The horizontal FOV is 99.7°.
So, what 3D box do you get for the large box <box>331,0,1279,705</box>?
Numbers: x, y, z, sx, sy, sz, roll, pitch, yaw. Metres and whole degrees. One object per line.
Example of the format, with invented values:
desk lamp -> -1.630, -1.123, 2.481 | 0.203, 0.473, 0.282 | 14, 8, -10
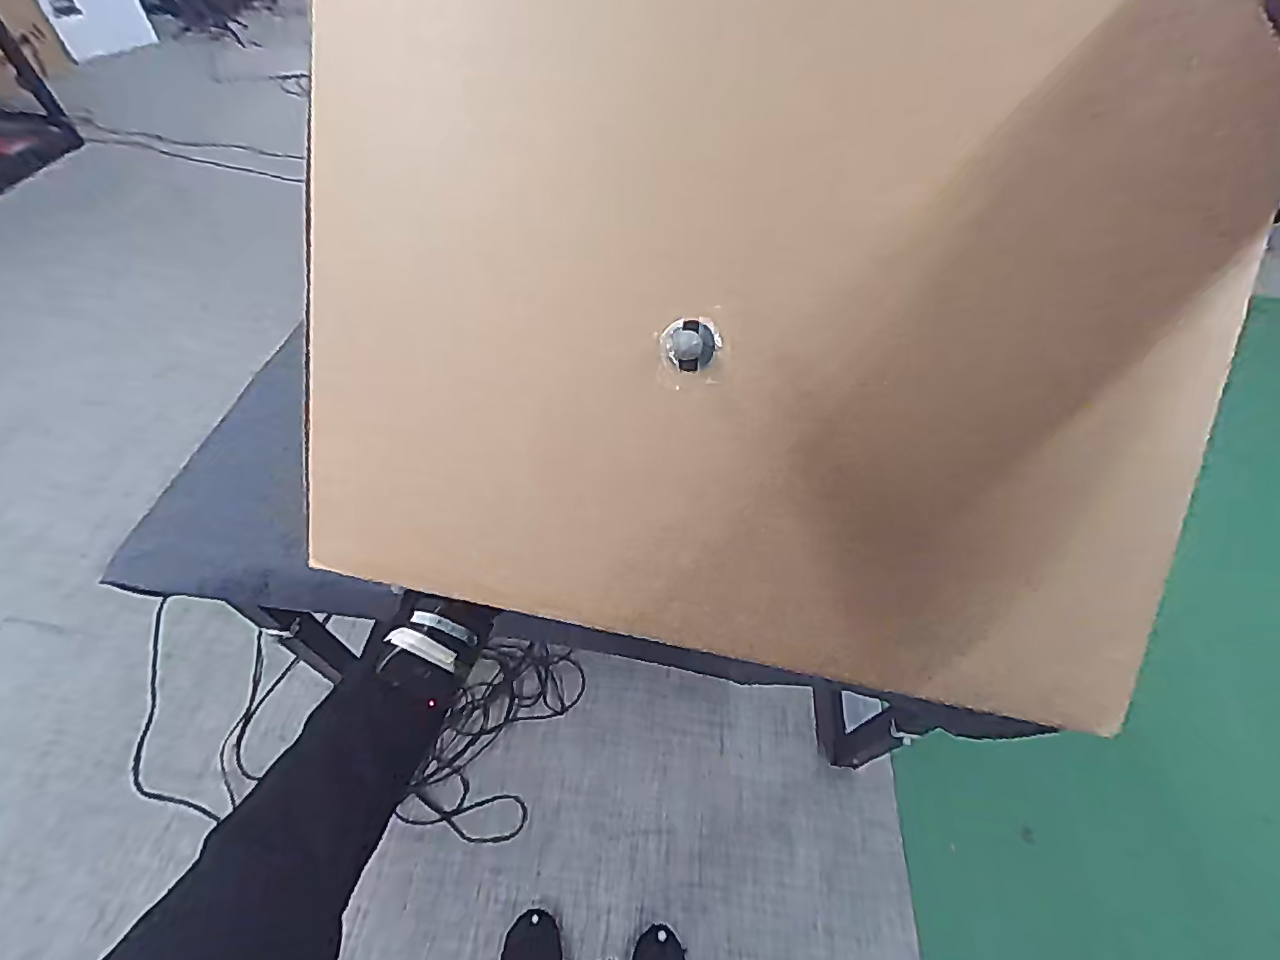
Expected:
large box -> 0.060, -0.084, 0.398 | 0.408, 0.320, 0.320 | 7, 10, 10
